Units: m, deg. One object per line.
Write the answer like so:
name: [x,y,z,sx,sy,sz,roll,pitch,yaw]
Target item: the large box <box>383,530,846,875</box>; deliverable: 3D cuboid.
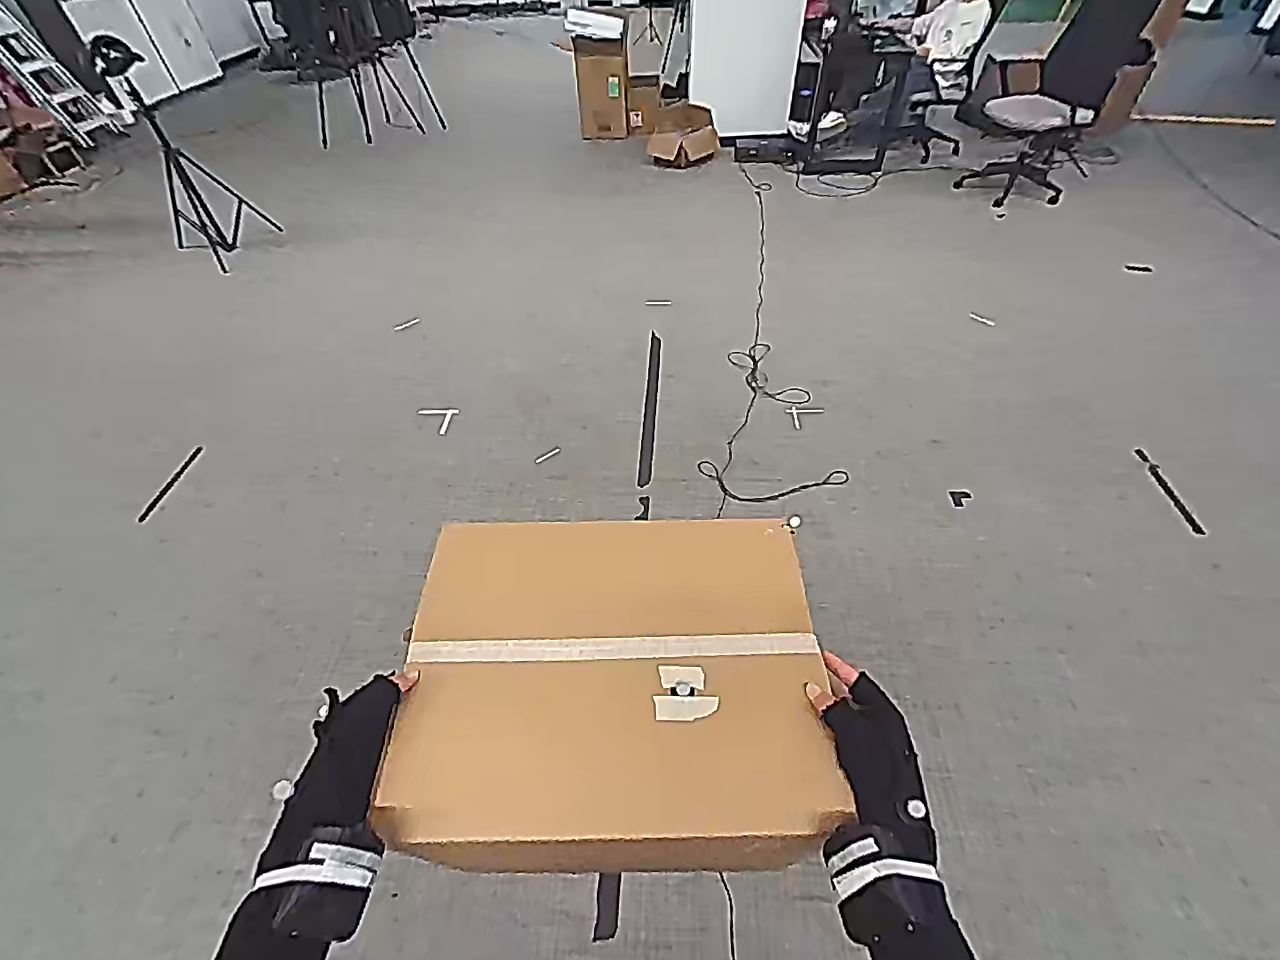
large box: [-0.025,0.276,0.664,0.408,0.320,0.320,0,50,0]
